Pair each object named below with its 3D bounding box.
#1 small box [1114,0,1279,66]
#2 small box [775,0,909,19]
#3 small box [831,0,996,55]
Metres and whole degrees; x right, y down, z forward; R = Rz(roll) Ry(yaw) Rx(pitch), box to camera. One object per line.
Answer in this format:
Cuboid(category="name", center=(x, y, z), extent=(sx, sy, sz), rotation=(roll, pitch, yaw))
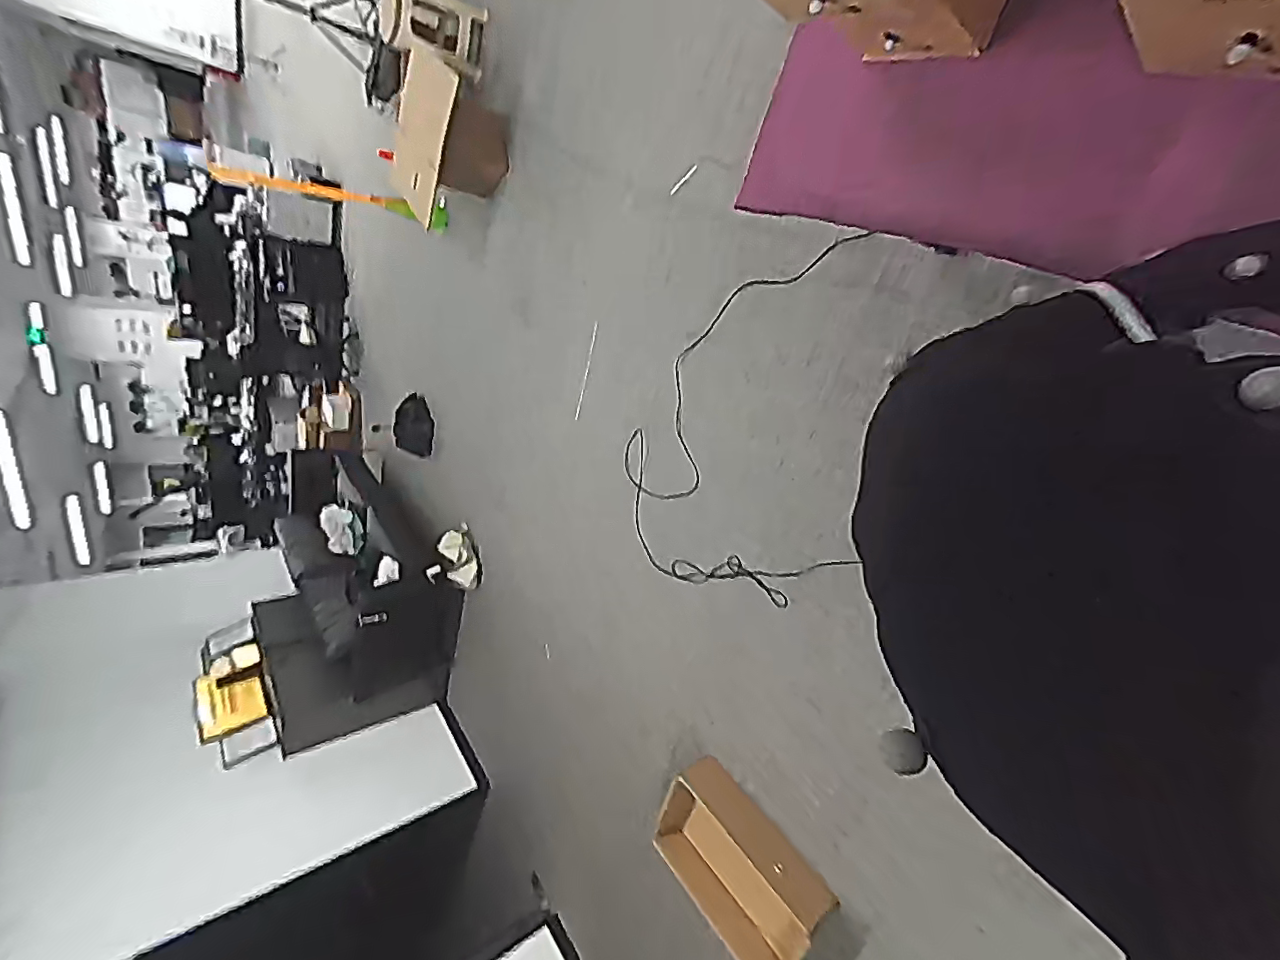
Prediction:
Cuboid(category="small box", center=(0.520, -0.444, 0.410), extent=(0.168, 0.176, 0.179), rotation=(38, 122, 40))
Cuboid(category="small box", center=(0.187, -0.585, 0.513), extent=(0.168, 0.176, 0.179), rotation=(37, 123, 39))
Cuboid(category="small box", center=(0.316, -0.622, 0.611), extent=(0.168, 0.176, 0.179), rotation=(35, 121, 40))
